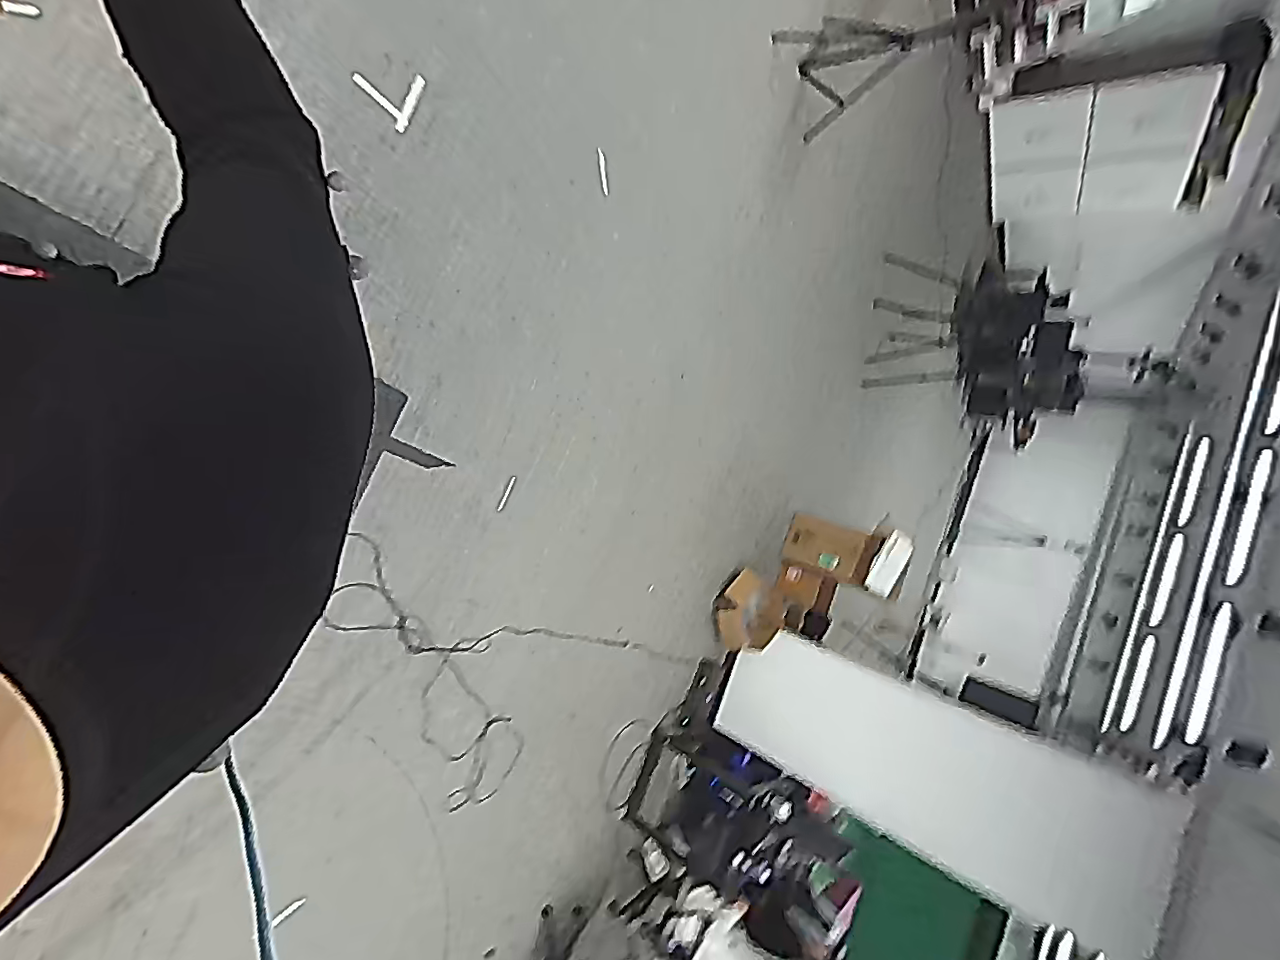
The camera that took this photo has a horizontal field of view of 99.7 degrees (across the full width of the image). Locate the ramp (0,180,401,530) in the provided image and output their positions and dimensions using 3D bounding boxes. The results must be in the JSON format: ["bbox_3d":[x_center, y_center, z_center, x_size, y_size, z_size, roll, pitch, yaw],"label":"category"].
[{"bbox_3d":[-1.043,-0.197,1.262,0.991,0.206,0.509,27,81,-52],"label":"ramp"}]
